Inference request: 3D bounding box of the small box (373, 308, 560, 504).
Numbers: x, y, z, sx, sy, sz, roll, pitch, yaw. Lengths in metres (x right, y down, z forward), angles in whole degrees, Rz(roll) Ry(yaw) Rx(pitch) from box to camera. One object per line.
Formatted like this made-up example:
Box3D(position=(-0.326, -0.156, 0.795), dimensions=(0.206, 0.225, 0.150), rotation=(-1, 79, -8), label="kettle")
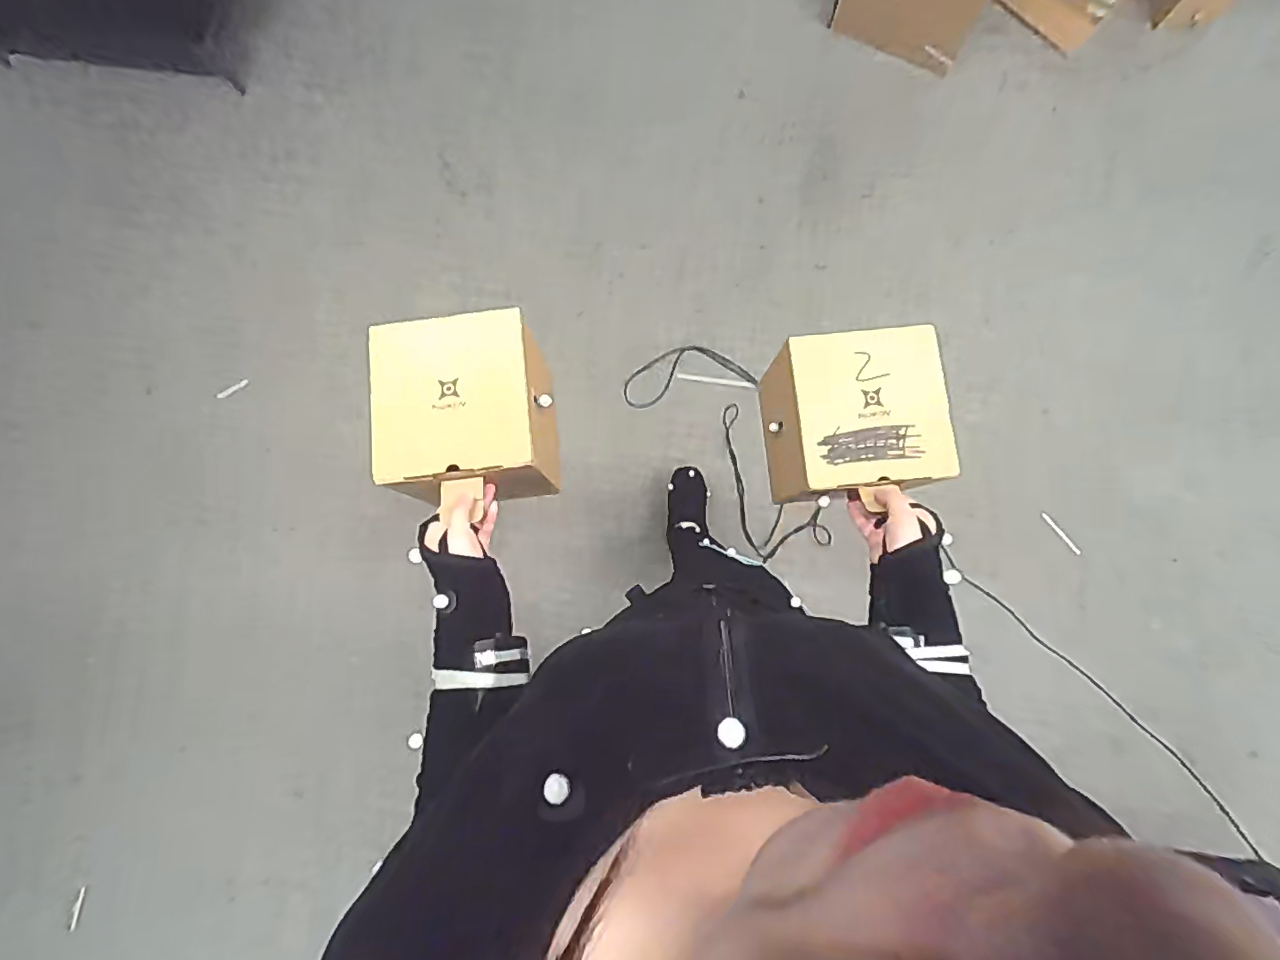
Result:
Box3D(position=(-0.195, -0.077, 0.641), dimensions=(0.168, 0.176, 0.179), rotation=(-7, 80, 0), label="small box")
